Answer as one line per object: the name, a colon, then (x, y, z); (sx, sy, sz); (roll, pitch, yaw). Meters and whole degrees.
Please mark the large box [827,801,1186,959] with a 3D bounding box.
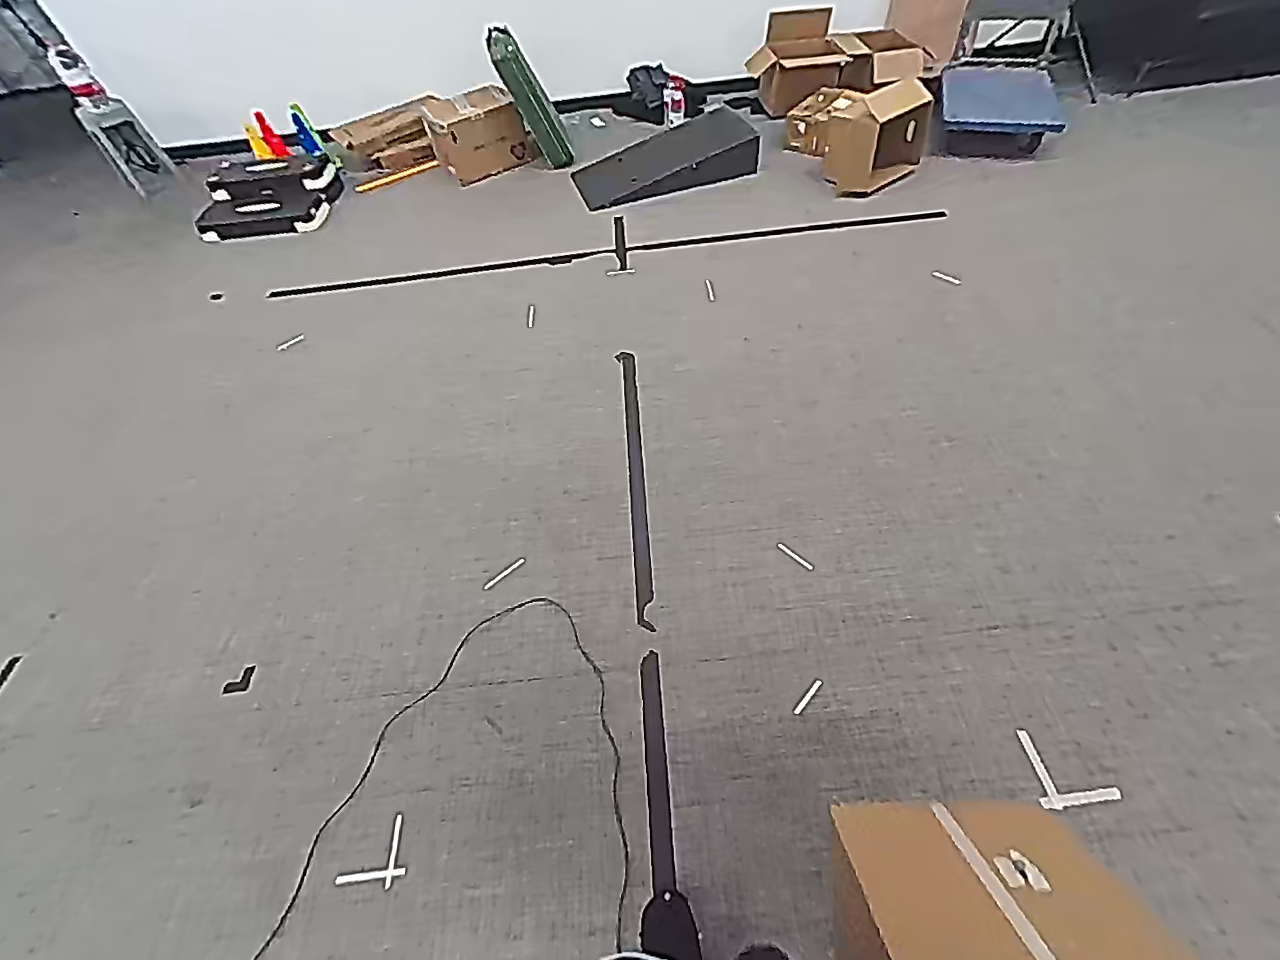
large box: (0.439, 0.661, 0.640); (0.320, 0.408, 0.320); (-1, 94, 4)
